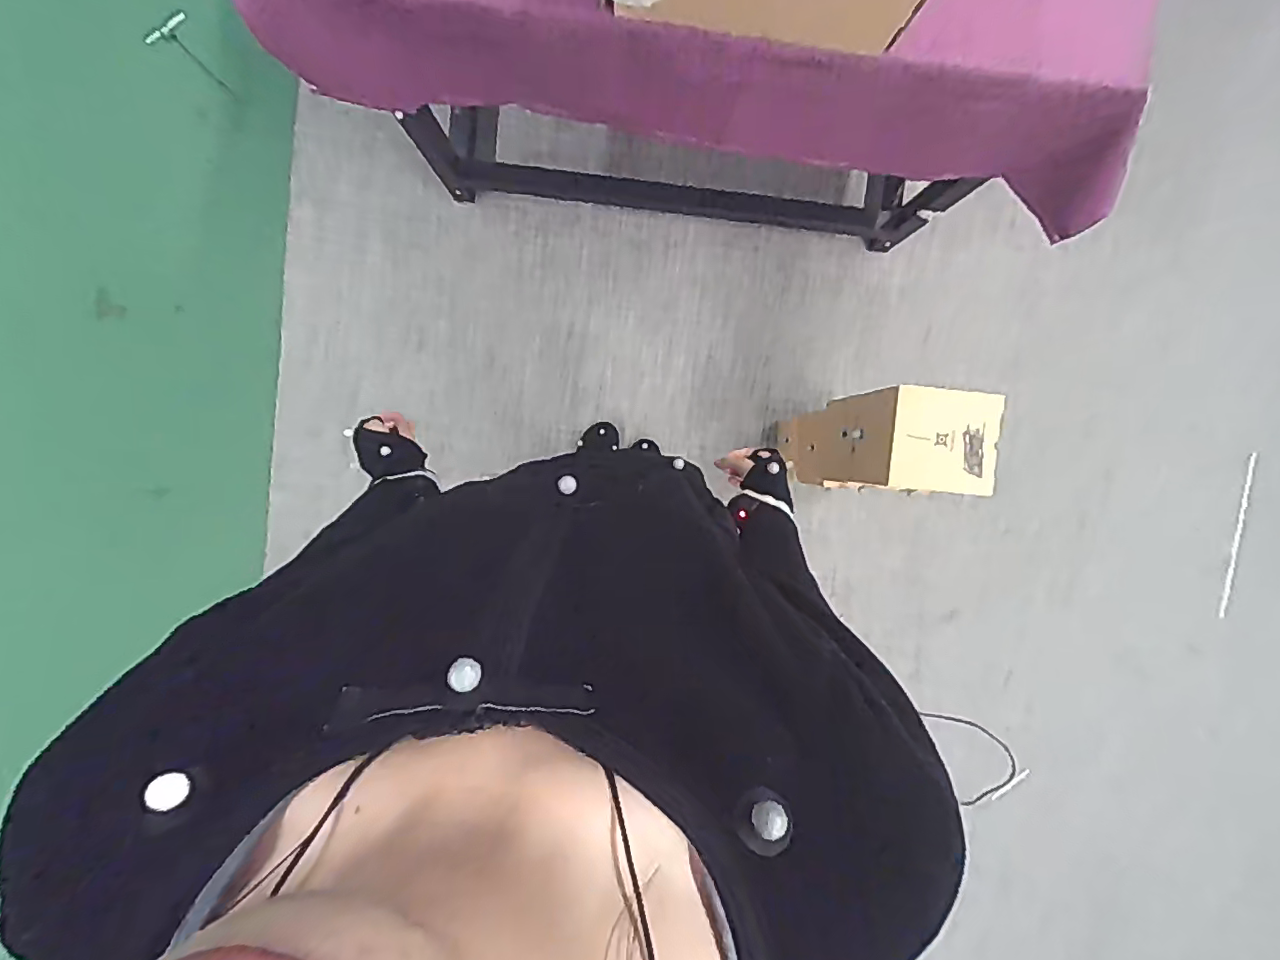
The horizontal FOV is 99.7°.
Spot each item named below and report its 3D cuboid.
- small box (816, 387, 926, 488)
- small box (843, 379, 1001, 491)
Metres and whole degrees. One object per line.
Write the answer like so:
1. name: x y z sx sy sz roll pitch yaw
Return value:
1. small box: 0.477 -0.085 1.110 0.168 0.176 0.179 7 93 -2
2. small box: 0.482 -0.077 0.946 0.179 0.176 0.168 6 93 -2
